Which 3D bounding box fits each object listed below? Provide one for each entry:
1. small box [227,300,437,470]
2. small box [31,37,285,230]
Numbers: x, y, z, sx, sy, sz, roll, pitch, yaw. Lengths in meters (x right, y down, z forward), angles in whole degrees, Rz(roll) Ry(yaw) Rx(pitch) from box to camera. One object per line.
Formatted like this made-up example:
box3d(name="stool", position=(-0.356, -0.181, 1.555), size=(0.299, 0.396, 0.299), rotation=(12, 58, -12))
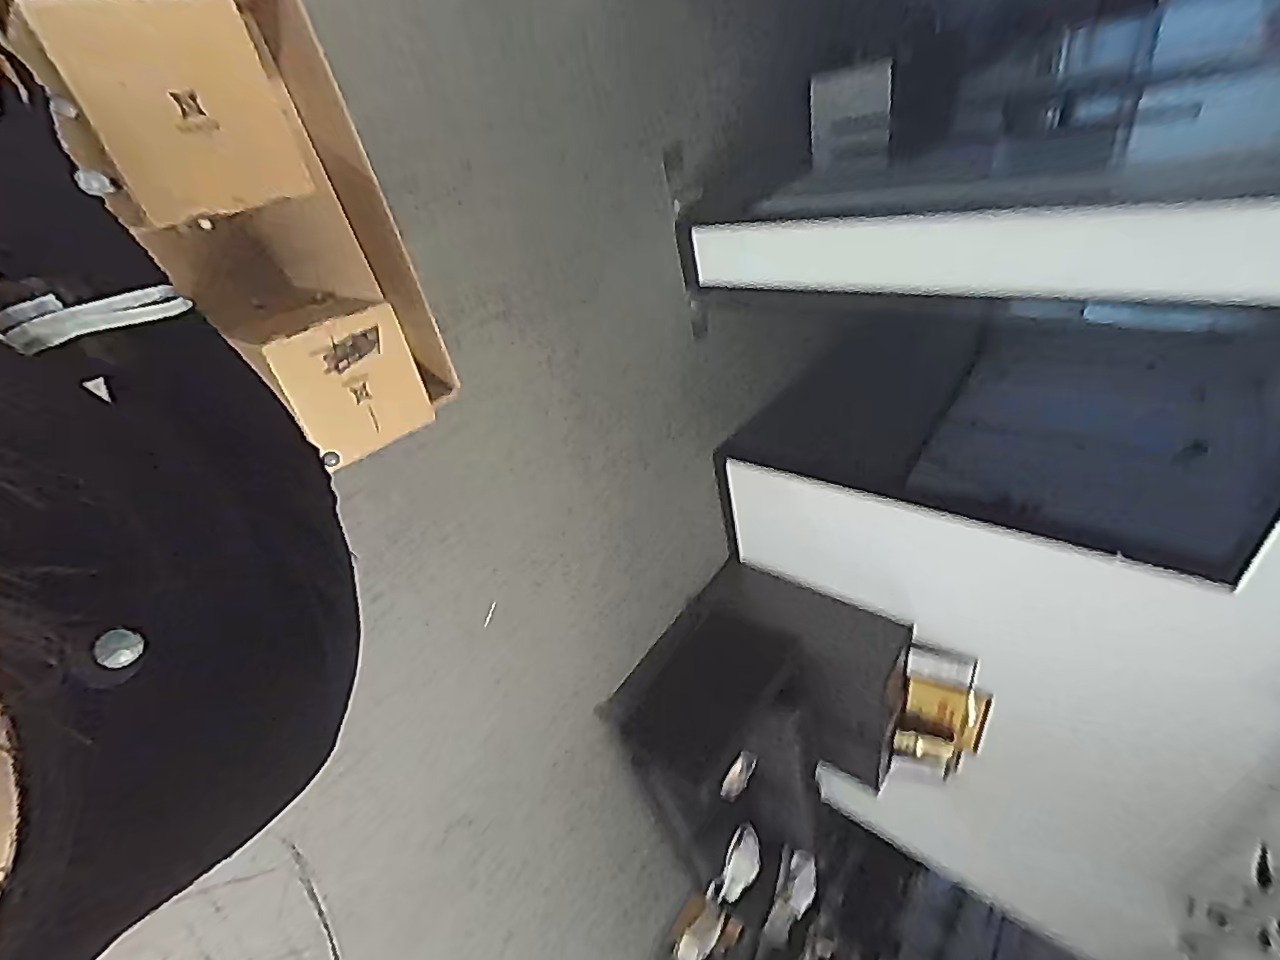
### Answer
box3d(name="small box", position=(-0.421, -0.141, 0.747), size=(0.168, 0.176, 0.179), rotation=(-38, 132, -36))
box3d(name="small box", position=(-0.601, -0.426, 0.680), size=(0.168, 0.176, 0.179), rotation=(-39, 133, -35))
